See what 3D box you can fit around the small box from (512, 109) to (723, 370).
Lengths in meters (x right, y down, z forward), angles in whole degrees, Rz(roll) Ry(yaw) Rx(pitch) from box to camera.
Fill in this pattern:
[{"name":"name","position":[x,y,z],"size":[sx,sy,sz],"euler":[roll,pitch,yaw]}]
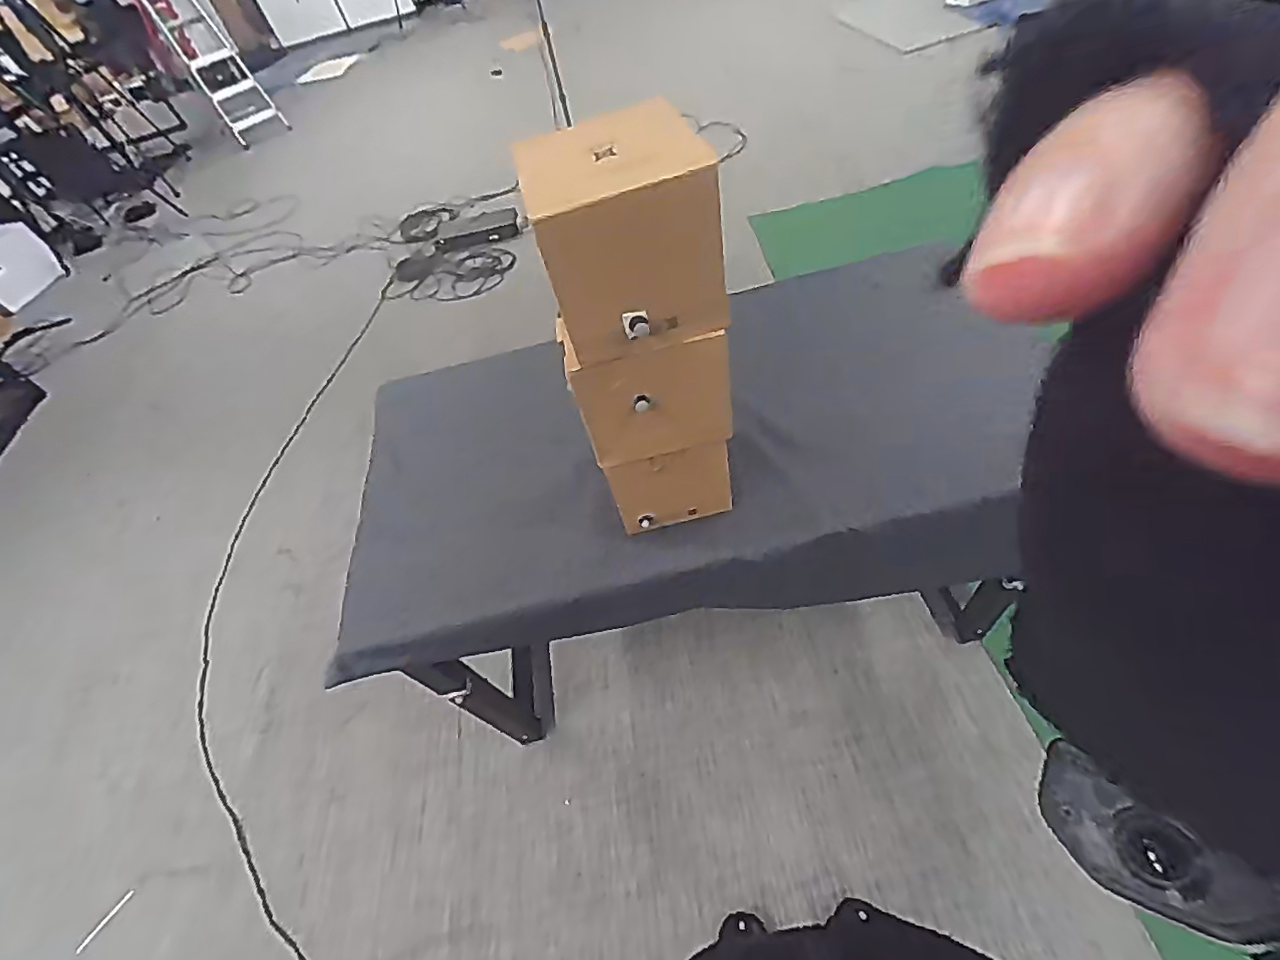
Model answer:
[{"name":"small box","position":[-0.020,-0.248,0.567],"size":[0.168,0.176,0.179],"euler":[-19,52,0]}]

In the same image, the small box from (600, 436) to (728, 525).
[{"name":"small box","position":[0.032,-0.049,0.820],"size":[0.168,0.176,0.179],"euler":[-14,50,2]}]

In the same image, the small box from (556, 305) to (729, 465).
[{"name":"small box","position":[0.006,-0.143,0.693],"size":[0.179,0.176,0.168],"euler":[-15,49,0]}]
